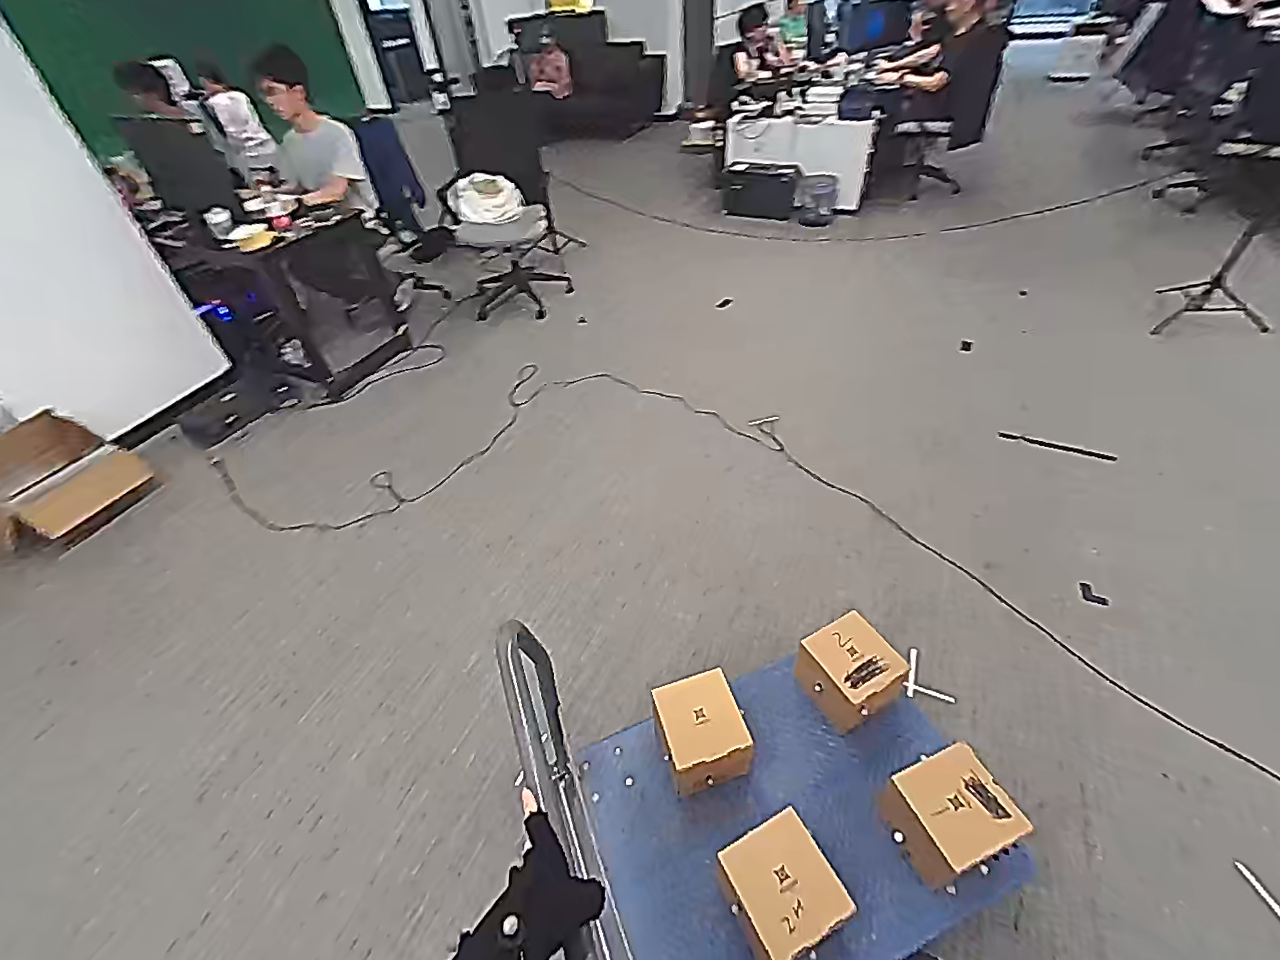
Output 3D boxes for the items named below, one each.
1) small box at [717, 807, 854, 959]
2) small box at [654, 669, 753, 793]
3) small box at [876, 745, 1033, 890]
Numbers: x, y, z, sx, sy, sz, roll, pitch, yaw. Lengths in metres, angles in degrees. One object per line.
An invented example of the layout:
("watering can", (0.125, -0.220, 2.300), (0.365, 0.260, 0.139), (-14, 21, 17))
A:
("small box", (0.250, 0.744, 0.979), (0.168, 0.176, 0.179), (-21, 46, -16))
("small box", (0.132, 0.552, 1.191), (0.168, 0.176, 0.179), (-14, 46, -10))
("small box", (0.591, 0.651, 1.043), (0.179, 0.176, 0.168), (-18, 45, -11))
